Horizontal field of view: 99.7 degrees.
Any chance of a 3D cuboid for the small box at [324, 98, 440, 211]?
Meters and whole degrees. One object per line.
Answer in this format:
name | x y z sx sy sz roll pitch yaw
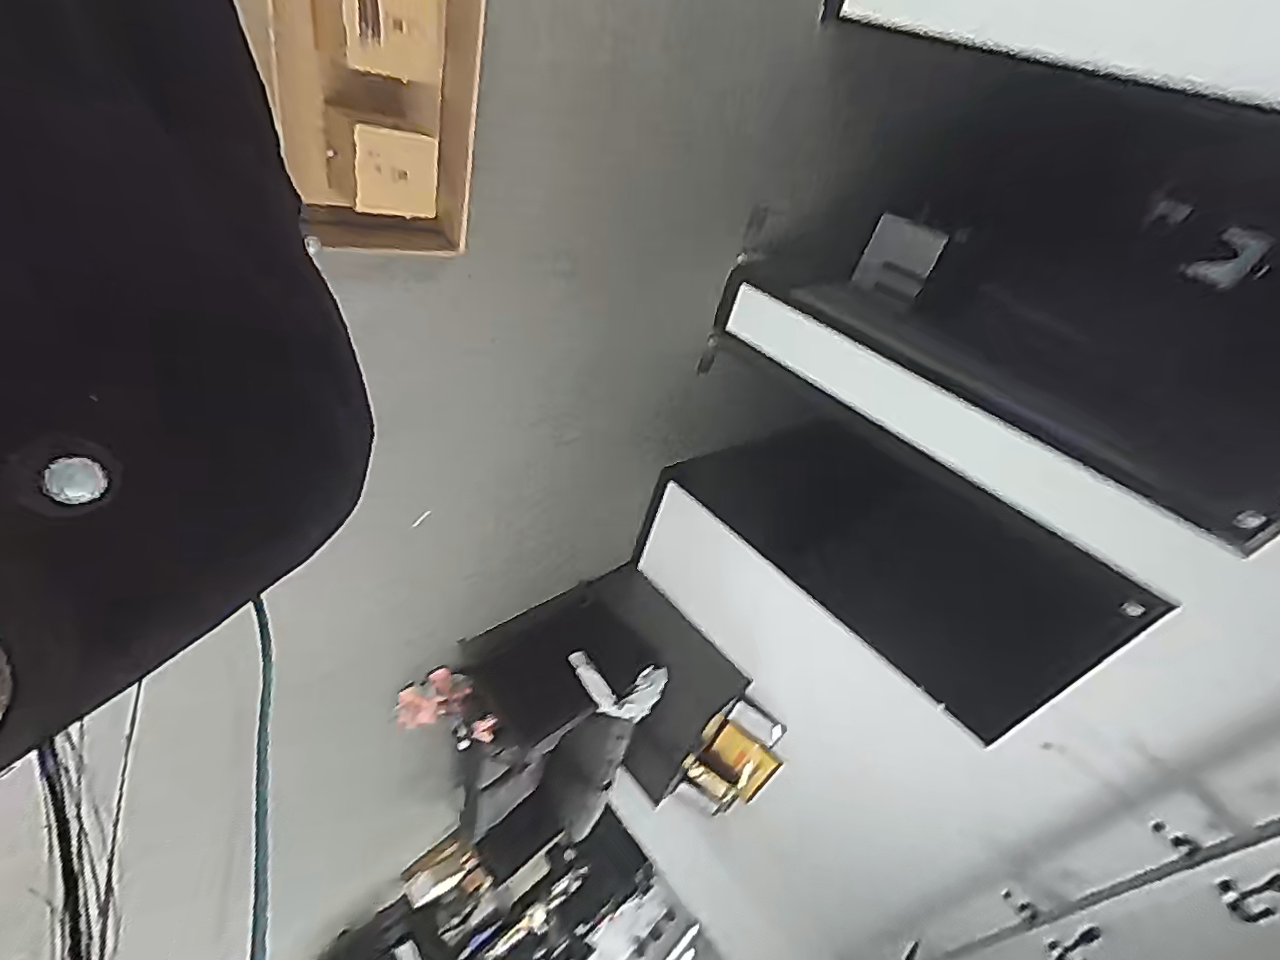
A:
small box | -0.566 -0.712 1.187 0.179 0.176 0.168 -18 138 -42
